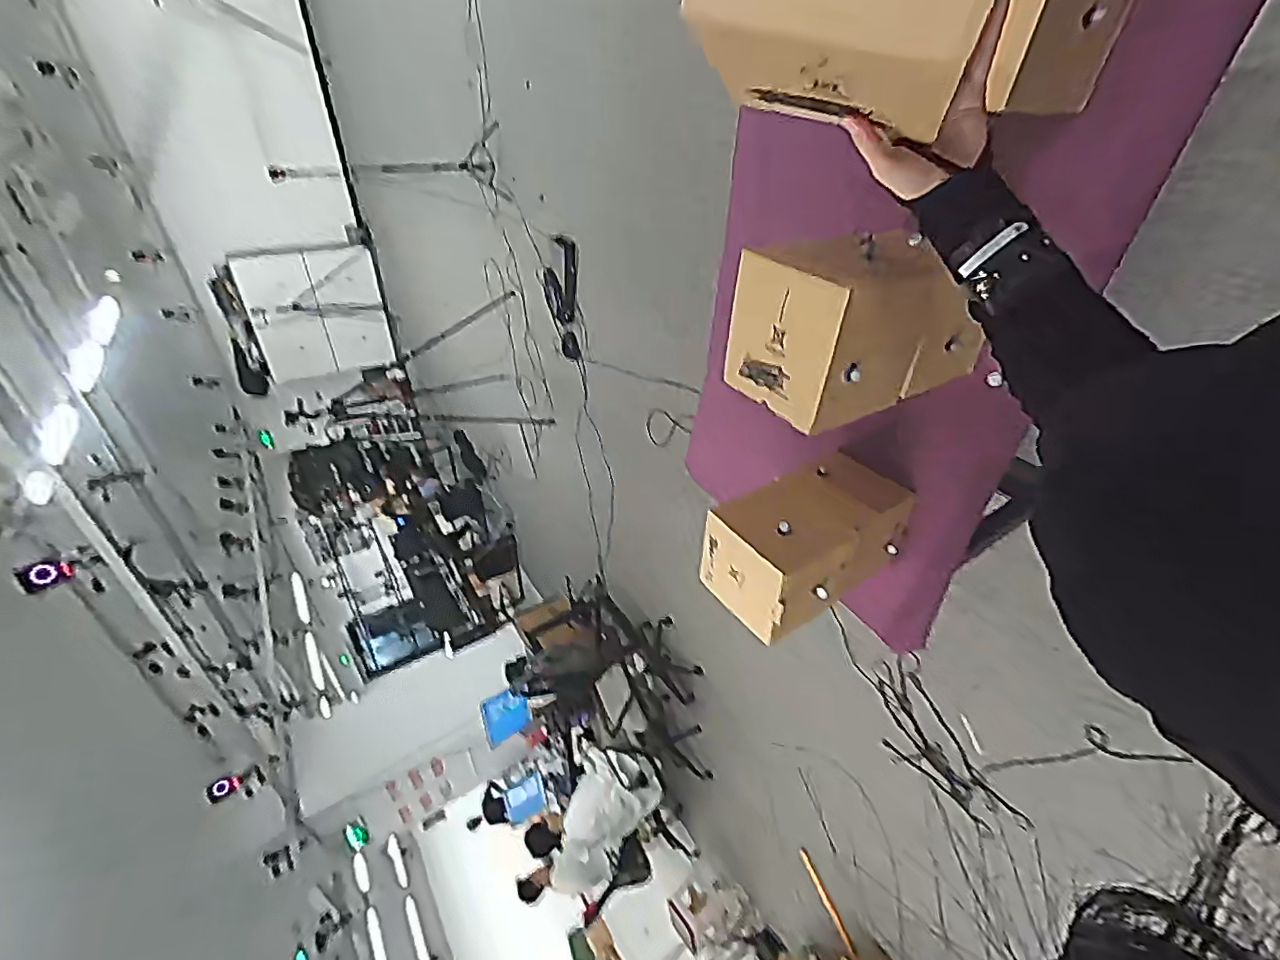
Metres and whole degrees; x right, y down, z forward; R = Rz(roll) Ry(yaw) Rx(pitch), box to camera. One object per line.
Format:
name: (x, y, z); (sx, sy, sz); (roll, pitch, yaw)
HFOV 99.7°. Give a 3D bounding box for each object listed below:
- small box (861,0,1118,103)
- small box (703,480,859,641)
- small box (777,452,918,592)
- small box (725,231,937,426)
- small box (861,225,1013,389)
small box: (0.374, -0.501, 0.561); (0.179, 0.176, 0.168); (45, 144, 40)
small box: (0.230, 0.122, 0.897); (0.179, 0.176, 0.168); (41, 142, 41)
small box: (0.359, 0.065, 0.981); (0.179, 0.176, 0.168); (40, 141, 42)
small box: (0.231, -0.196, 0.676); (0.168, 0.176, 0.179); (44, 143, 41)
small box: (0.368, -0.249, 0.751); (0.179, 0.176, 0.168); (42, 142, 44)
